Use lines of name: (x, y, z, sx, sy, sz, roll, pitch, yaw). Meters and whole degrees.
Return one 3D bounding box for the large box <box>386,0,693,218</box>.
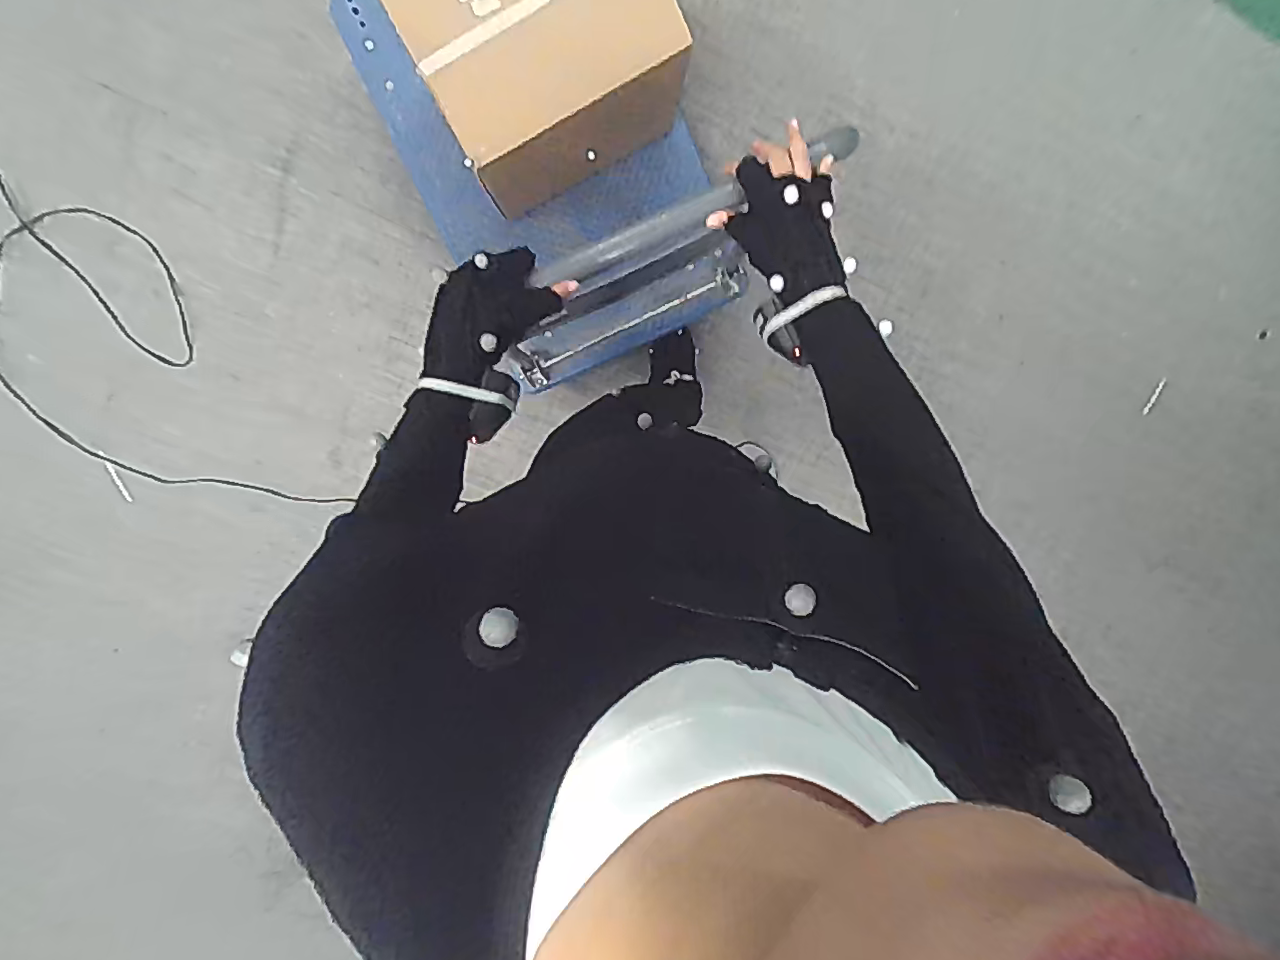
large box: (-0.161, -0.764, 1.000, 0.408, 0.320, 0.320, -29, 100, 4)
